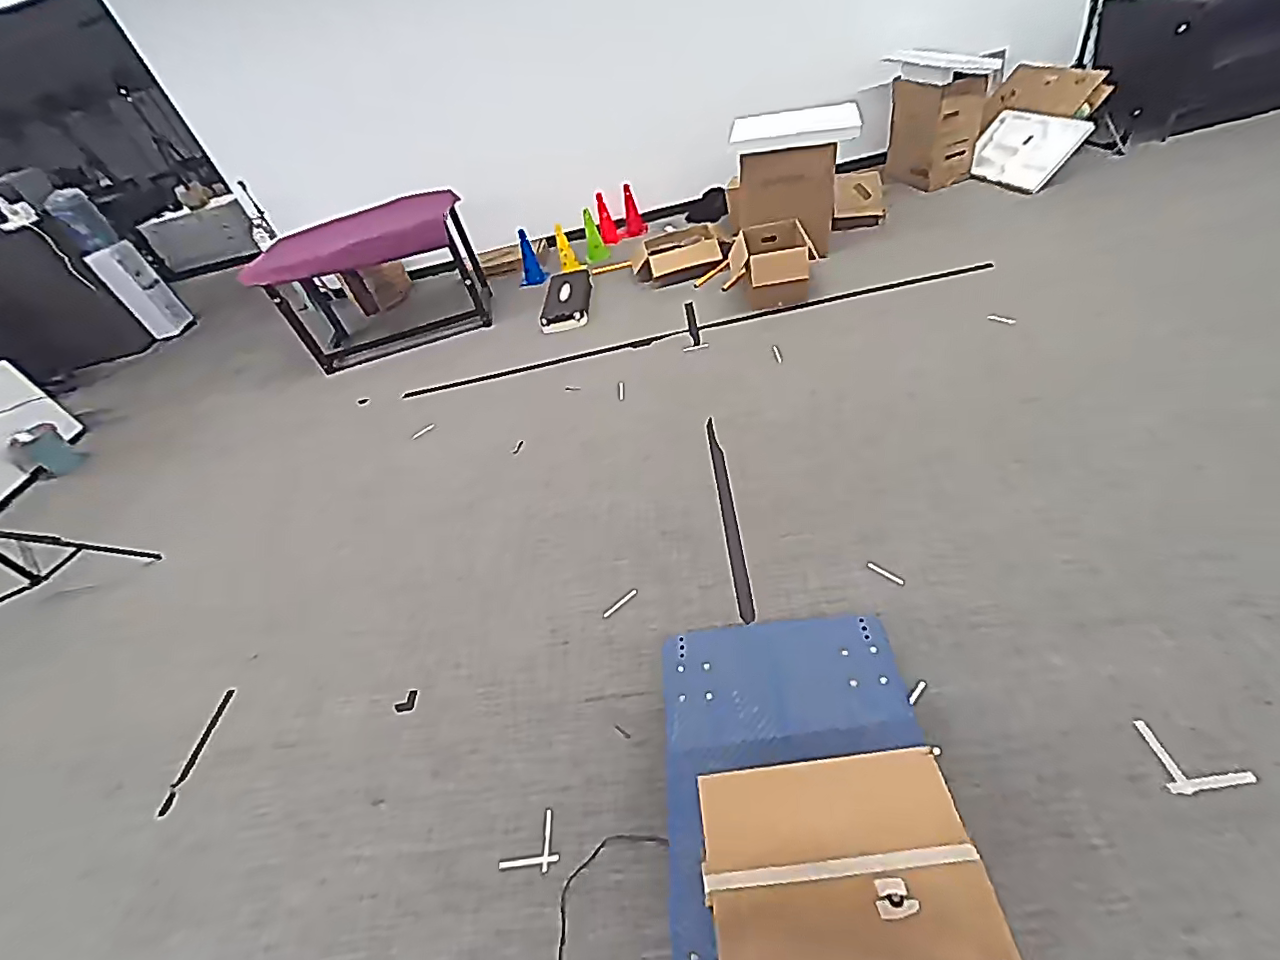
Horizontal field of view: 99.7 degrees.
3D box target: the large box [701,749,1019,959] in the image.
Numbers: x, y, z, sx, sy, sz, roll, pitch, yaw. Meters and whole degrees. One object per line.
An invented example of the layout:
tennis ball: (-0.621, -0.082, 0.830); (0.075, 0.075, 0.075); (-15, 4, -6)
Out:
large box: (0.340, 0.713, 0.939); (0.408, 0.320, 0.320); (-11, 43, 5)
